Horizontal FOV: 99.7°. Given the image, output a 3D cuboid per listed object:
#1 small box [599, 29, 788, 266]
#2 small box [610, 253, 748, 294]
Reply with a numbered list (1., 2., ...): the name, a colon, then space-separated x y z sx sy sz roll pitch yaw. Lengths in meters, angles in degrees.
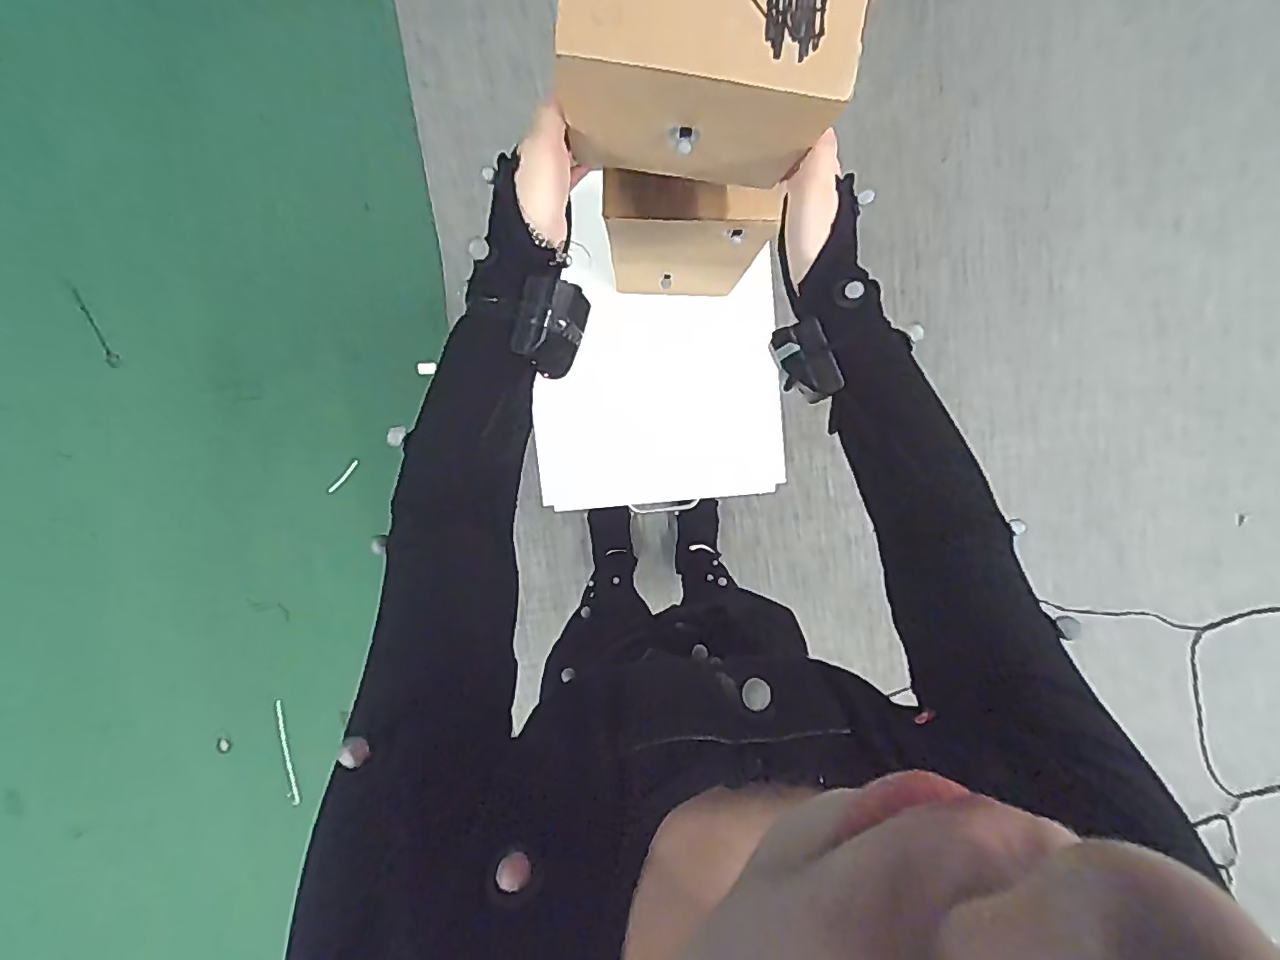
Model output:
1. small box: 0.049 -0.341 0.587 0.179 0.176 0.168 1 96 -1
2. small box: 0.053 -0.361 0.749 0.179 0.176 0.168 2 96 0
